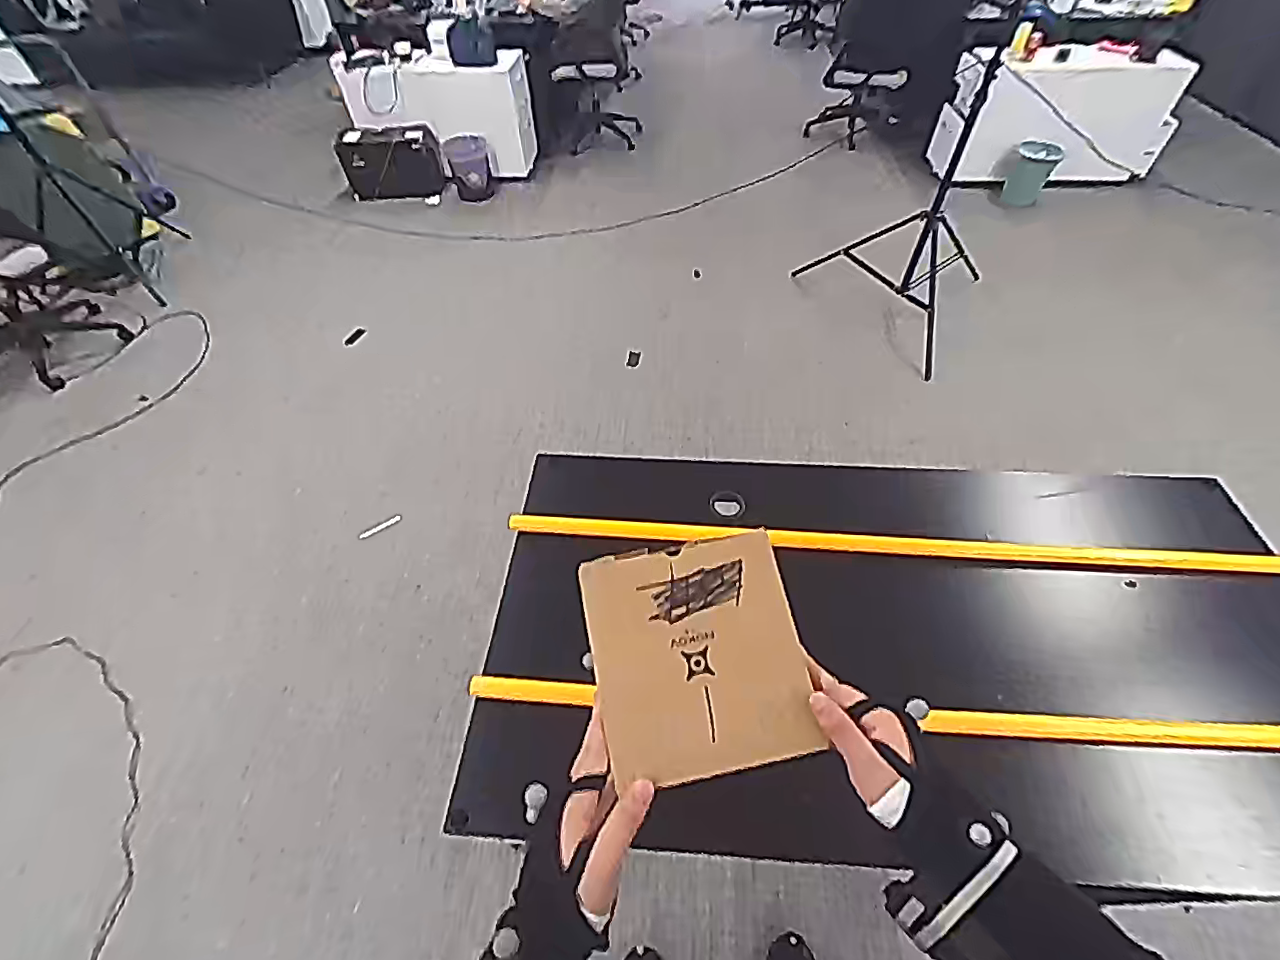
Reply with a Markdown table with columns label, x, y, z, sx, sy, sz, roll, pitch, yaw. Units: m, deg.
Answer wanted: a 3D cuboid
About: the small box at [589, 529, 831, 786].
| label | x | y | z | sx | sy | sz | roll | pitch | yaw |
| --- | --- | --- | --- | --- | --- | --- | --- | --- | --- |
| small box | 0.050 | 0.164 | 0.507 | 0.168 | 0.176 | 0.179 | -11 | 69 | -3 |
